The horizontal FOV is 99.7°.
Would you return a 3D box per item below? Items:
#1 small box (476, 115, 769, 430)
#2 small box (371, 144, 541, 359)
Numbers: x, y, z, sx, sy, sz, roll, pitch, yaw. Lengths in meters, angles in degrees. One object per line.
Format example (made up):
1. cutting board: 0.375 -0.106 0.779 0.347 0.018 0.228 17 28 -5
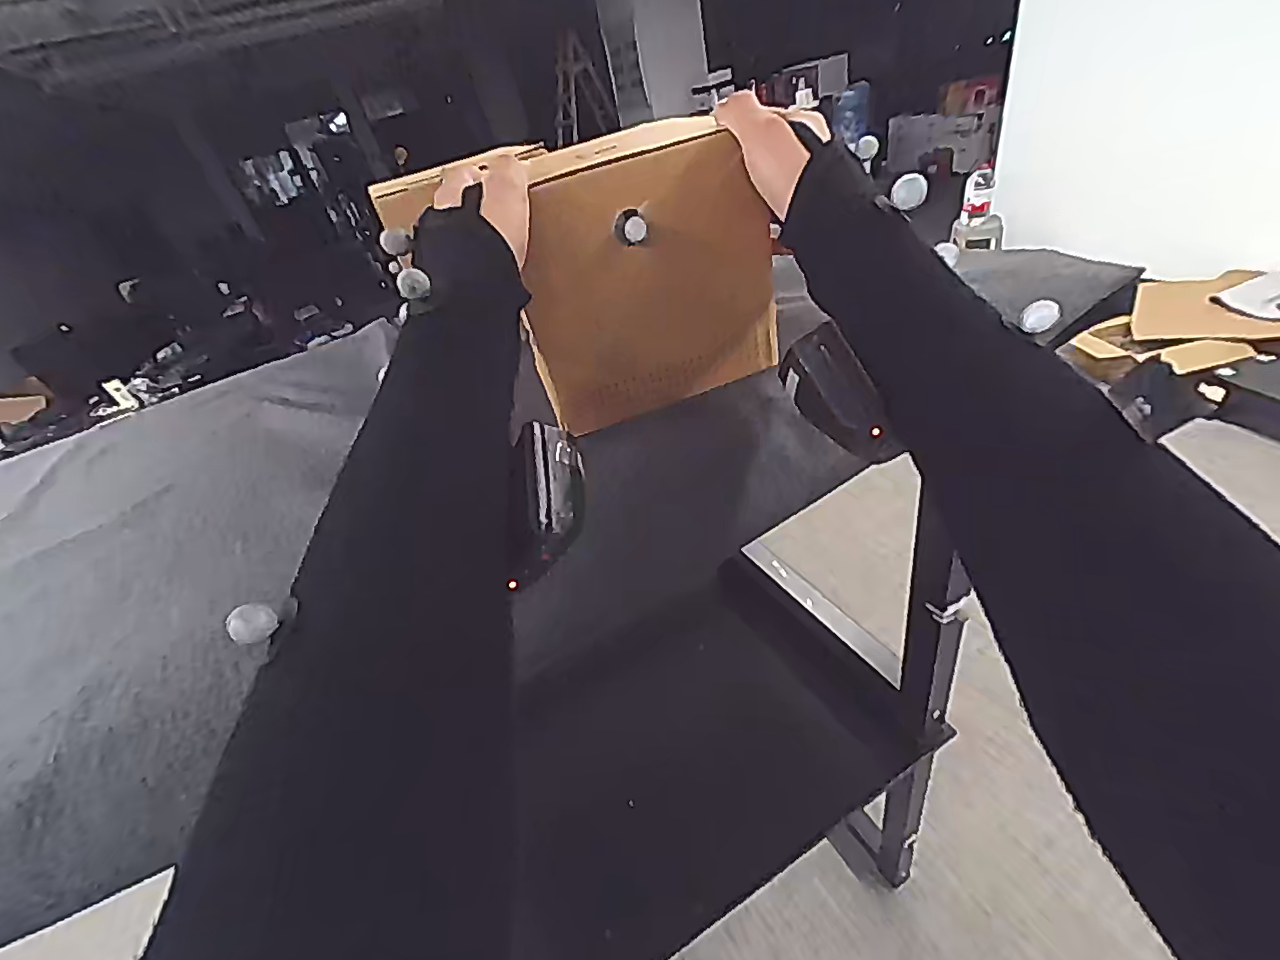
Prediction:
1. small box: -0.011 -0.166 0.424 0.179 0.176 0.168 -21 36 -6
2. small box: -0.175 -0.252 0.599 0.168 0.176 0.179 -25 36 -12
